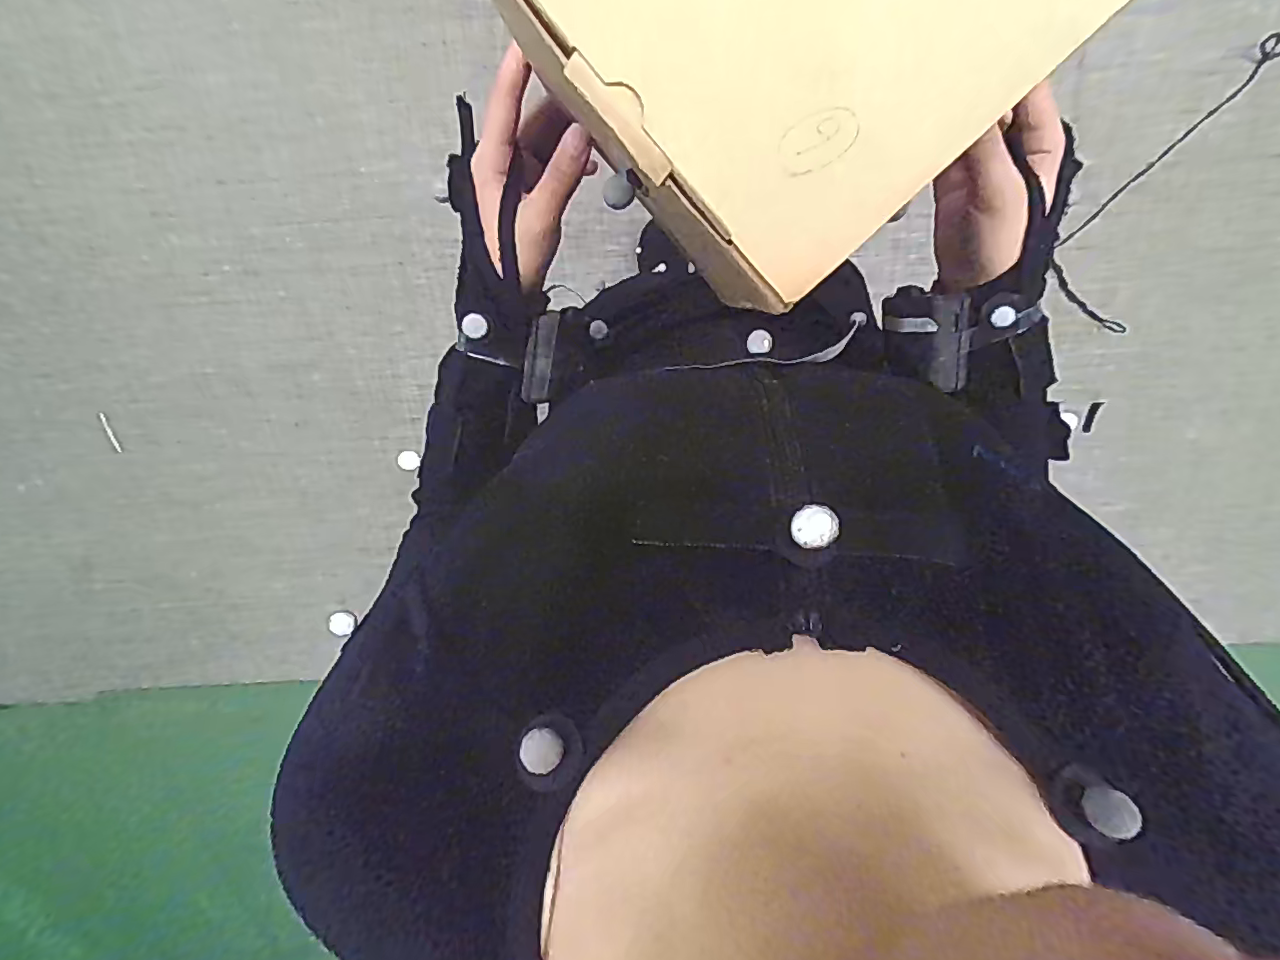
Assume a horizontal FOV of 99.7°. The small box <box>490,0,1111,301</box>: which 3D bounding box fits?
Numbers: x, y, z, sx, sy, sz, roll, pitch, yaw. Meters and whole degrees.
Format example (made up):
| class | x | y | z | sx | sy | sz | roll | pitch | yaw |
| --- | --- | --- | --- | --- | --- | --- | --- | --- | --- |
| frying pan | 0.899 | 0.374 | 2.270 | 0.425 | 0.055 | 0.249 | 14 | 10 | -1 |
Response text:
| class | x | y | z | sx | sy | sz | roll | pitch | yaw |
| --- | --- | --- | --- | --- | --- | --- | --- | --- | --- |
| small box | 0.057 | -0.195 | 0.226 | 0.179 | 0.176 | 0.168 | -41 | 101 | 15 |
